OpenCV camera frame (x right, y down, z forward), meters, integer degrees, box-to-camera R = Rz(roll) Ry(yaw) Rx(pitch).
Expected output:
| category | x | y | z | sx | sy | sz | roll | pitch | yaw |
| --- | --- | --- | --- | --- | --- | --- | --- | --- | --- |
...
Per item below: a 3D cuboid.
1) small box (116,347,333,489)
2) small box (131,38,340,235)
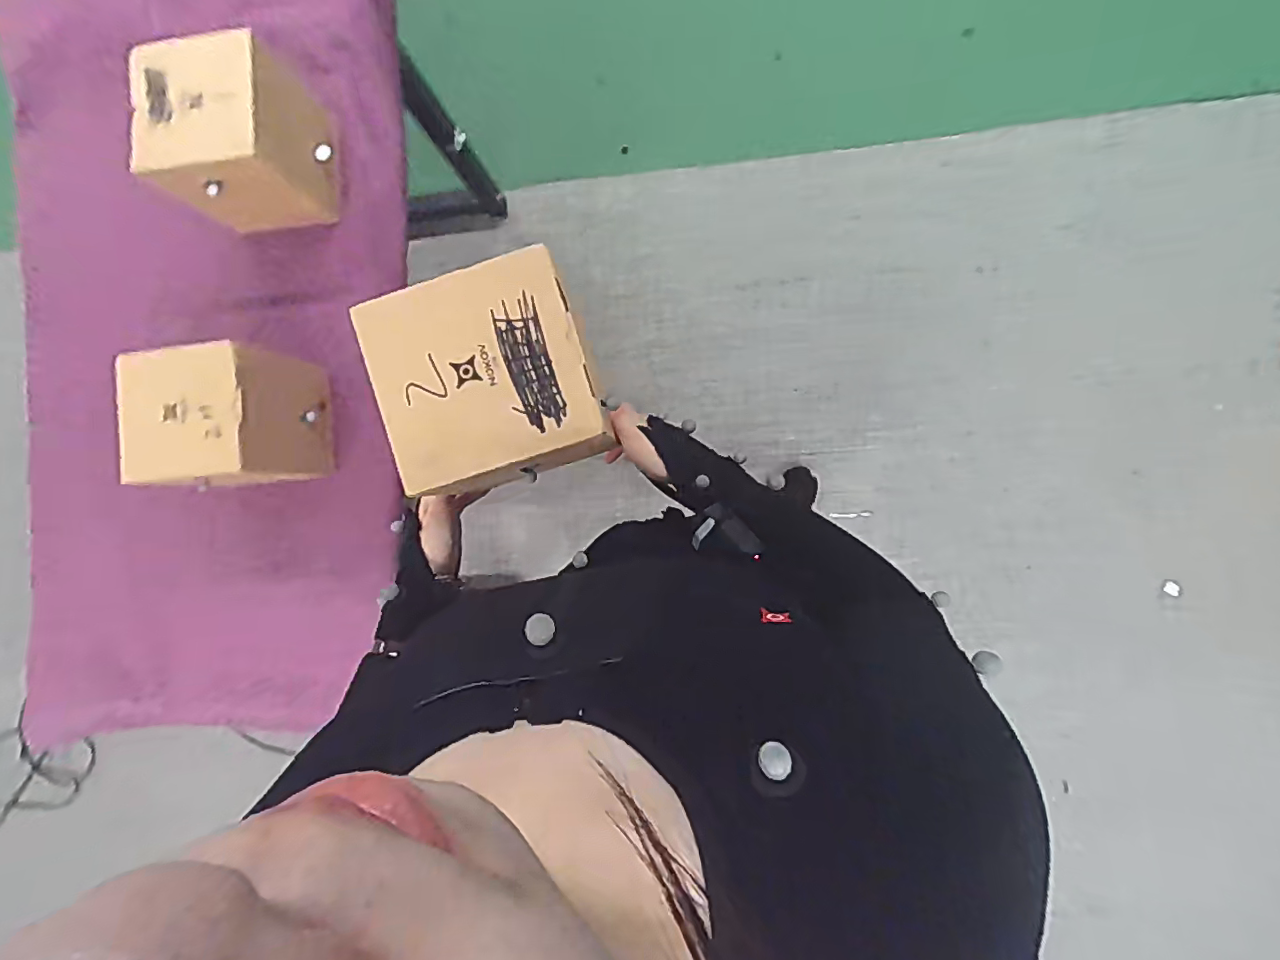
| category | x | y | z | sx | sy | sz | roll | pitch | yaw |
| --- | --- | --- | --- | --- | --- | --- | --- | --- | --- |
| small box | -0.568 | -0.075 | 0.756 | 0.179 | 0.176 | 0.168 | -5 | 88 | 7 |
| small box | -0.563 | -0.470 | 0.769 | 0.179 | 0.176 | 0.168 | -4 | 88 | 6 |
